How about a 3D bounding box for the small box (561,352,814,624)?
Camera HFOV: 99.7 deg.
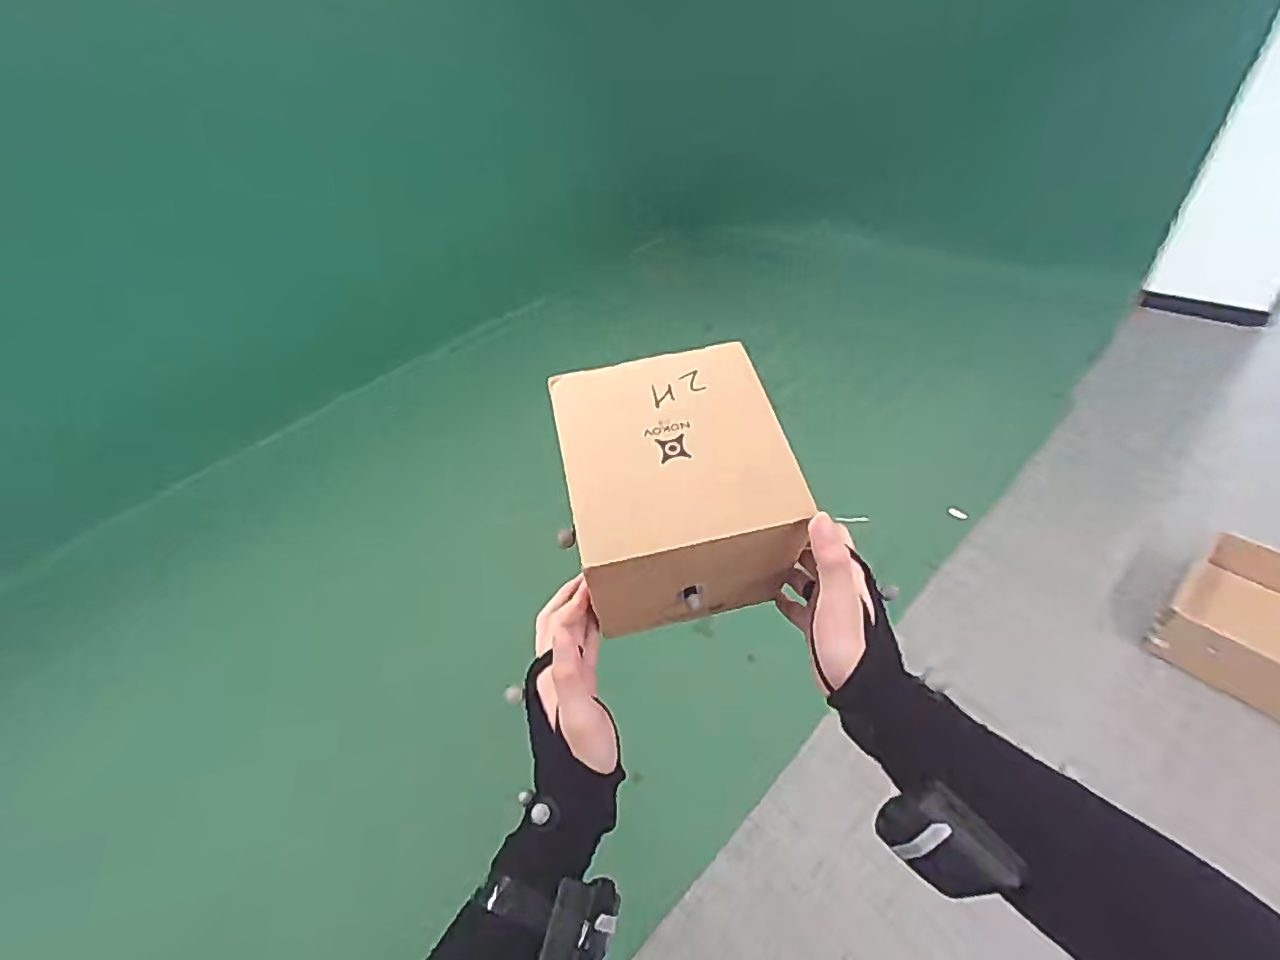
[{"bbox_3d":[0.032,0.018,0.485,0.168,0.176,0.179,-11,58,-5],"label":"small box"}]
